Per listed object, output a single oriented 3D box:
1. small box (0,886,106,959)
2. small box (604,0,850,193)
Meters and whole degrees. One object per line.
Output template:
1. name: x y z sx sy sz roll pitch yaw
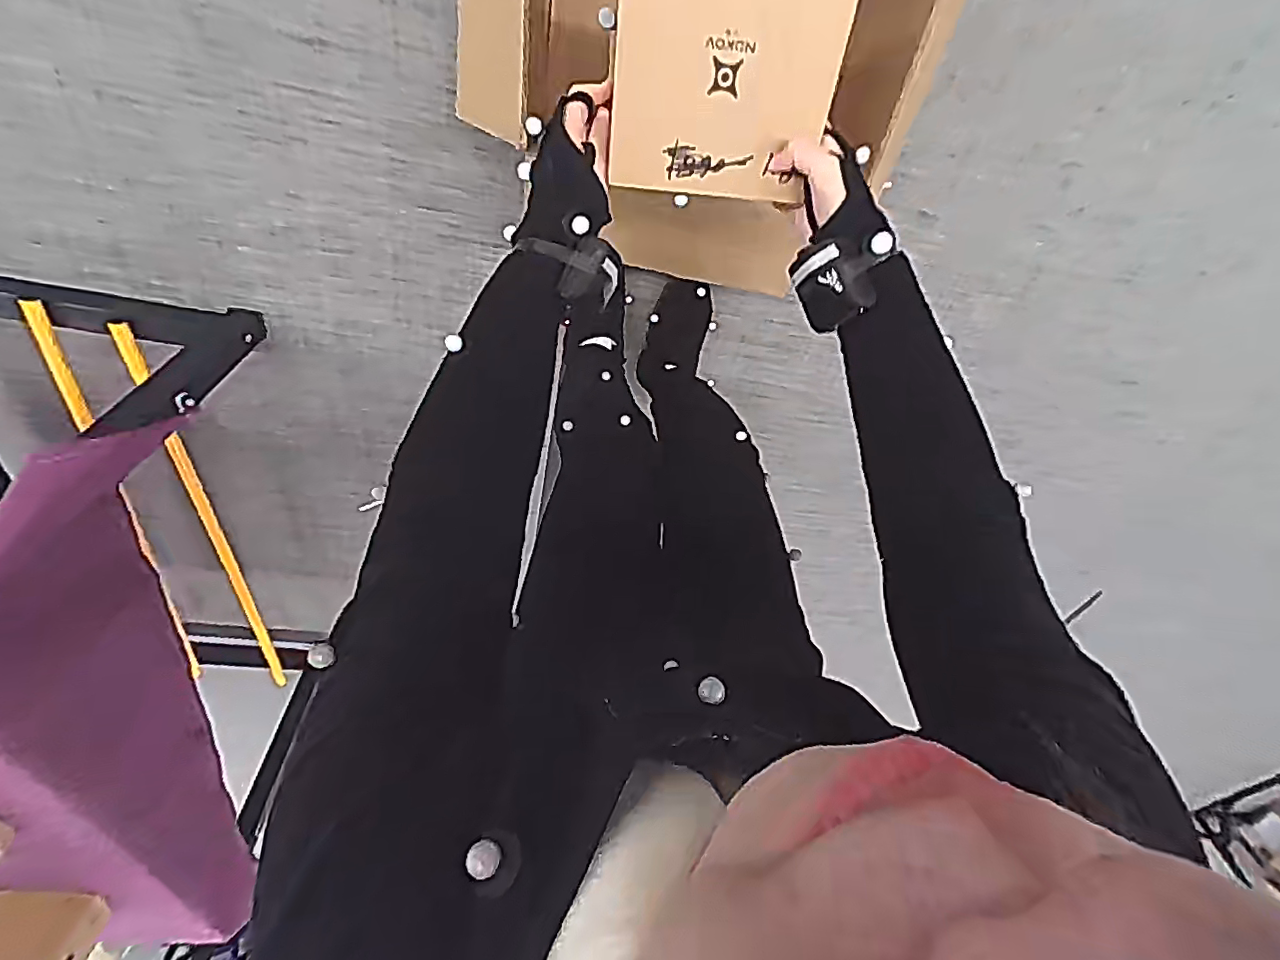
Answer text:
1. small box: -1.049 0.800 0.902 0.179 0.176 0.168 17 127 -18
2. small box: 0.057 -0.359 0.452 0.168 0.176 0.179 2 128 -6
